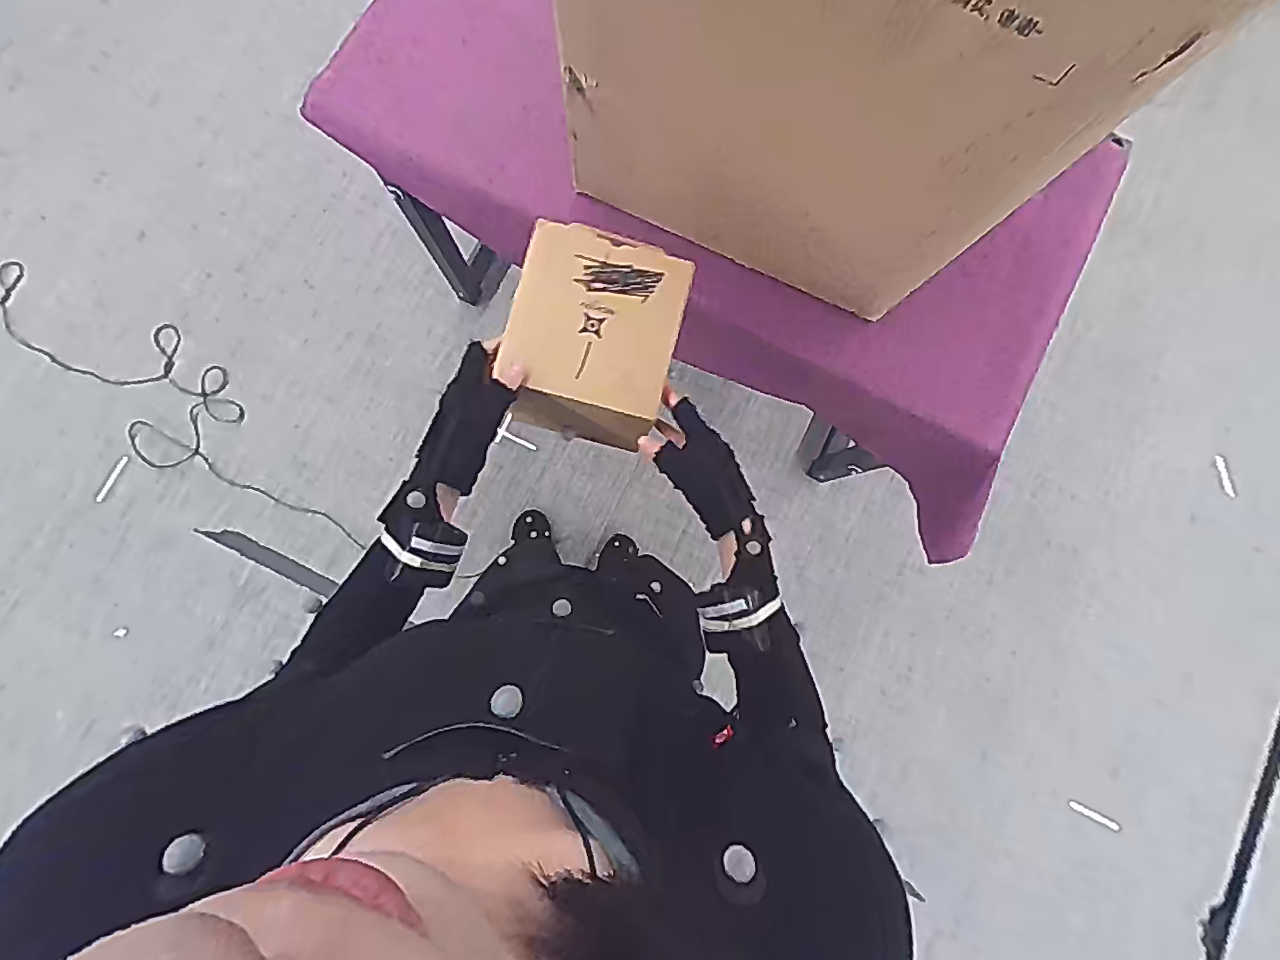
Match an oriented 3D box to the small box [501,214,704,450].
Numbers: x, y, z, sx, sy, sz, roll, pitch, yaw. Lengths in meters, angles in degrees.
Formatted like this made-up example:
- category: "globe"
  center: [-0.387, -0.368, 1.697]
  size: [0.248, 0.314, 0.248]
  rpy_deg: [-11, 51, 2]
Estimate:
- category: "small box"
  center: [-0.042, -0.148, 0.603]
  size: [0.168, 0.176, 0.179]
  rpy_deg: [15, 81, -3]
